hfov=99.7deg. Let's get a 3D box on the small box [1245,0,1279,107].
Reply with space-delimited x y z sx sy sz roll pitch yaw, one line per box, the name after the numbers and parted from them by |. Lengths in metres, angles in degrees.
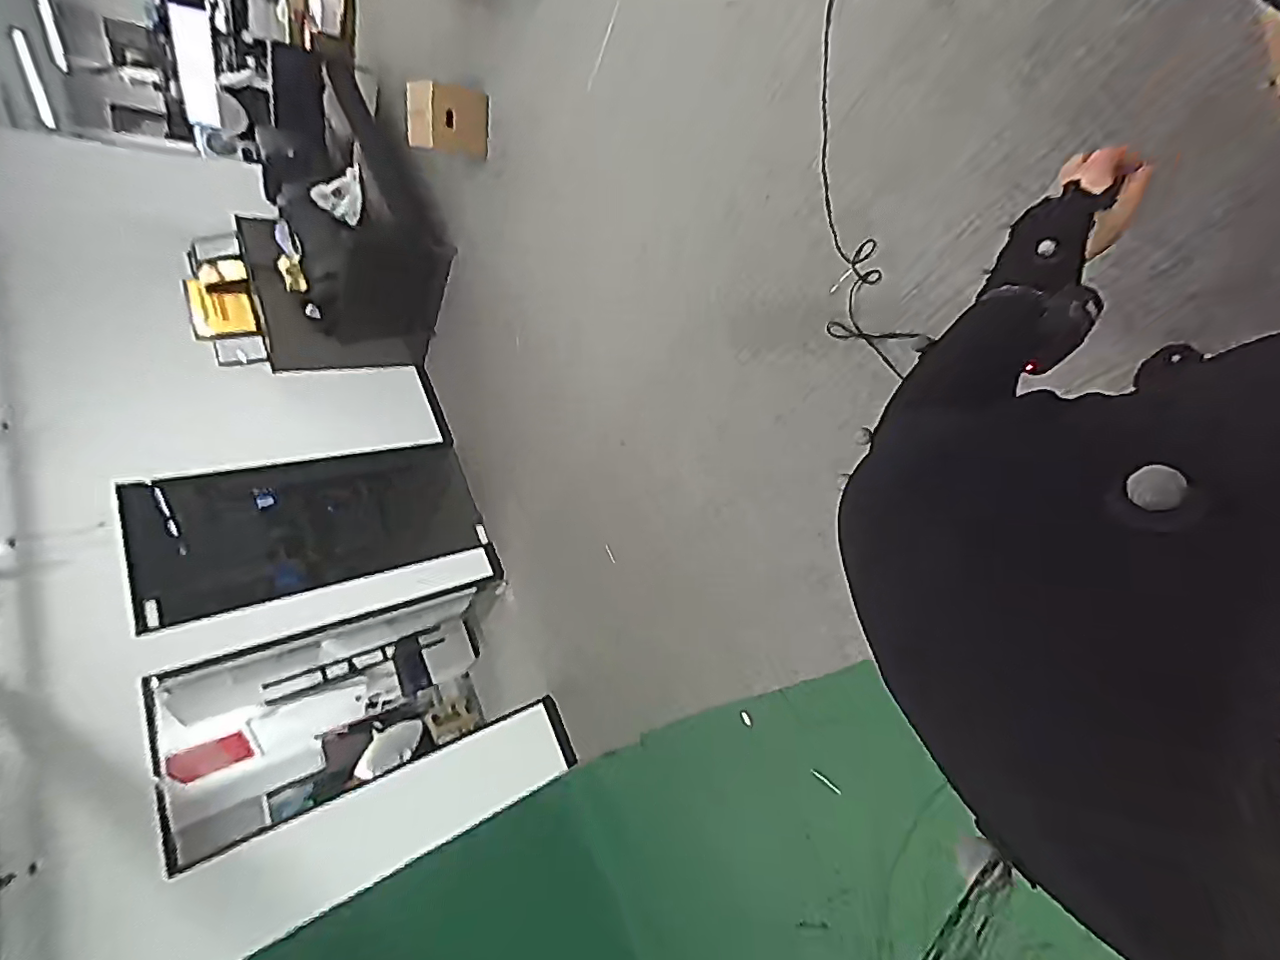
1.047 -0.694 0.802 0.168 0.176 0.179 -17 84 52 | small box
